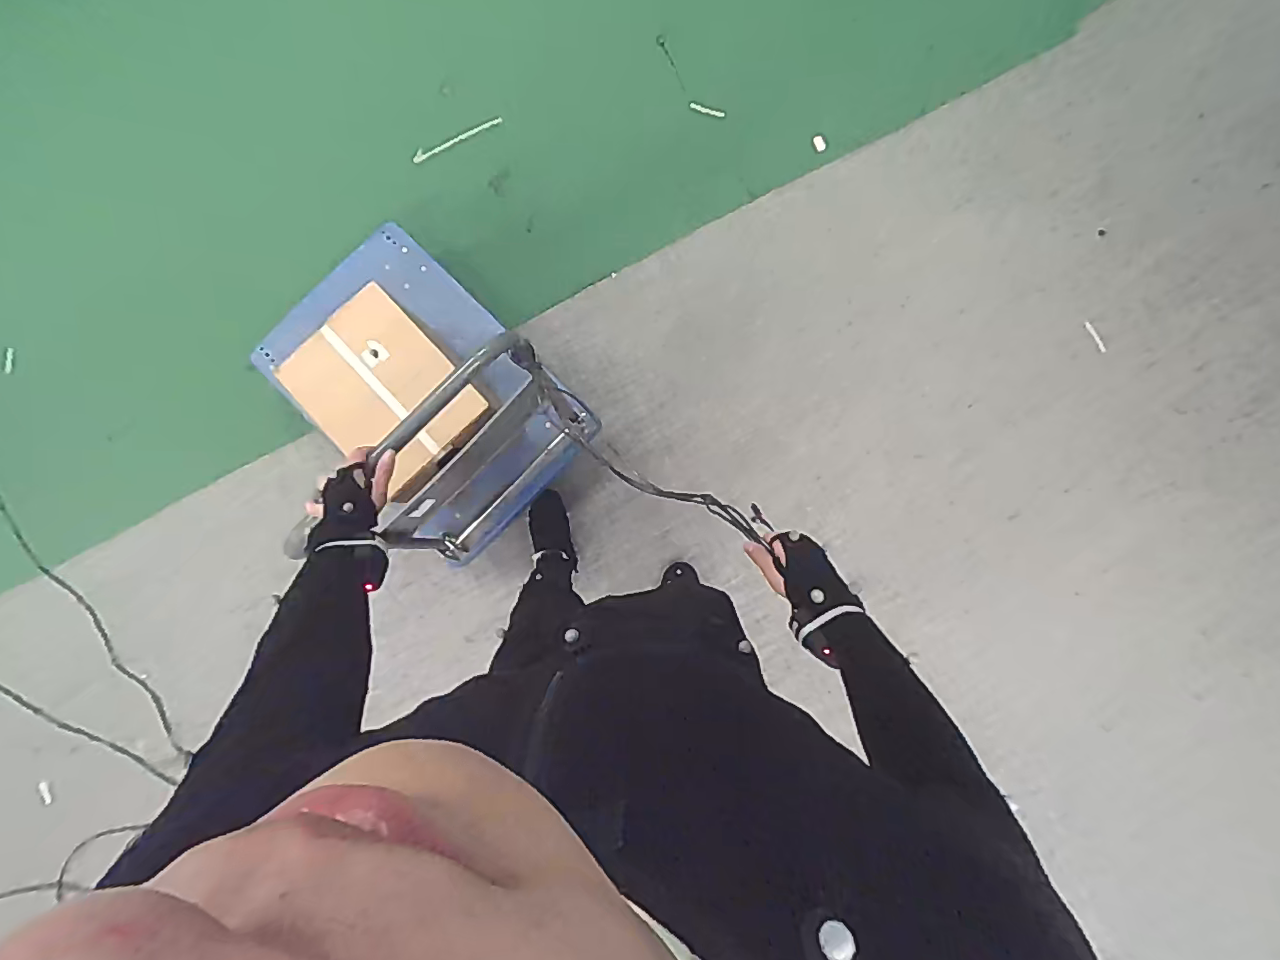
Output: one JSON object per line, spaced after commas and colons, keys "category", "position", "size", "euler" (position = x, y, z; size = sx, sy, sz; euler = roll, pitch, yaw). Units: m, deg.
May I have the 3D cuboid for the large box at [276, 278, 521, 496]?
{"category": "large box", "position": [-0.573, -0.206, 1.357], "size": [0.320, 0.320, 0.408], "euler": [-43, 85, -2]}
